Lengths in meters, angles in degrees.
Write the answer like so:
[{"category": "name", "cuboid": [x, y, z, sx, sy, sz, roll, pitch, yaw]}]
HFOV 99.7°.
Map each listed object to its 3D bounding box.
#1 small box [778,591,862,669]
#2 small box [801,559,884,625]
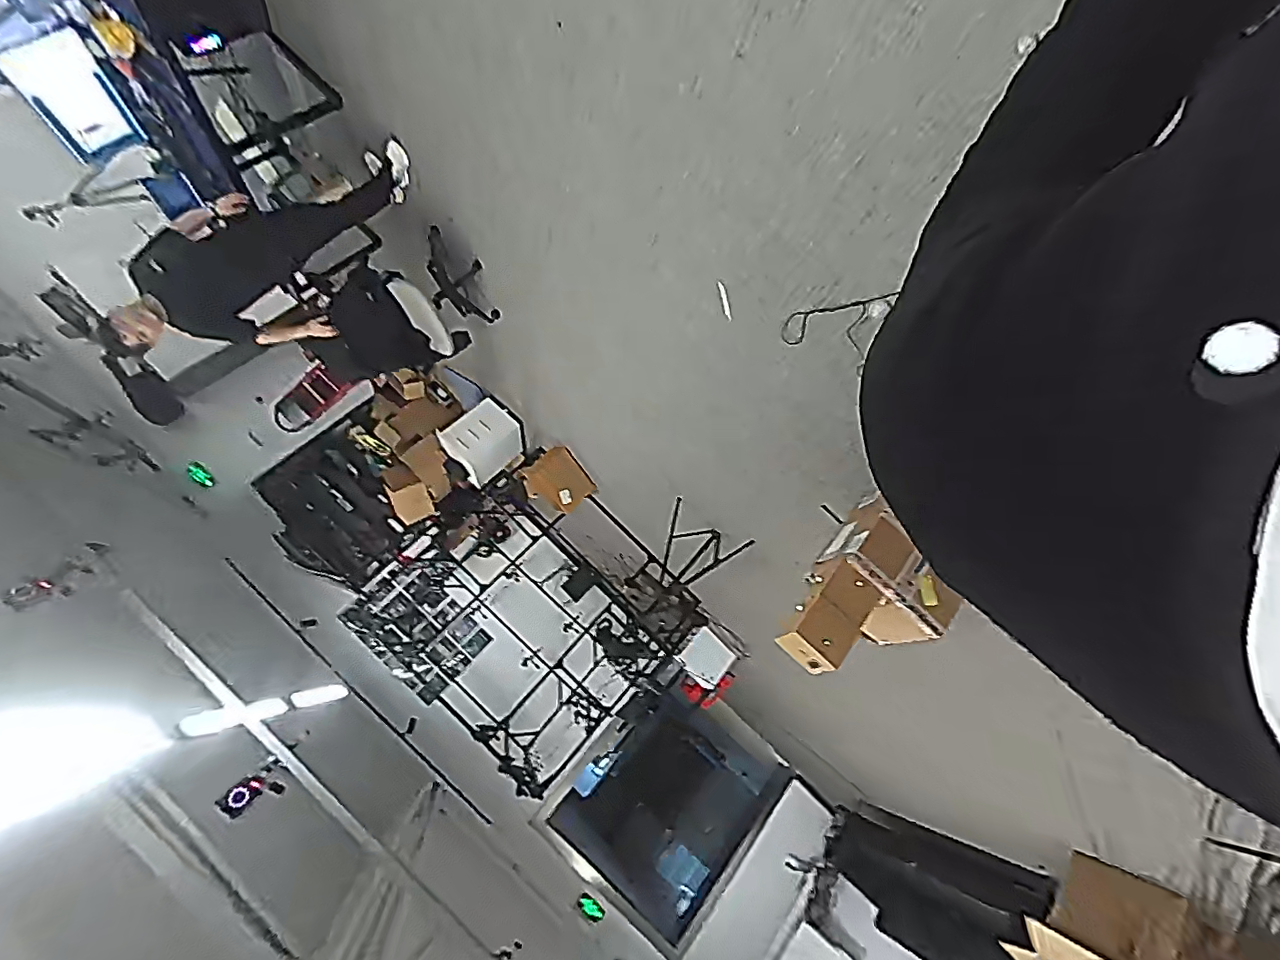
[{"category": "small box", "cuboid": [0.604, 0.502, 1.812, 0.179, 0.176, 0.168, 42, 154, 9]}, {"category": "small box", "cuboid": [0.708, 0.398, 1.888, 0.179, 0.176, 0.168, 42, 154, 9]}]
